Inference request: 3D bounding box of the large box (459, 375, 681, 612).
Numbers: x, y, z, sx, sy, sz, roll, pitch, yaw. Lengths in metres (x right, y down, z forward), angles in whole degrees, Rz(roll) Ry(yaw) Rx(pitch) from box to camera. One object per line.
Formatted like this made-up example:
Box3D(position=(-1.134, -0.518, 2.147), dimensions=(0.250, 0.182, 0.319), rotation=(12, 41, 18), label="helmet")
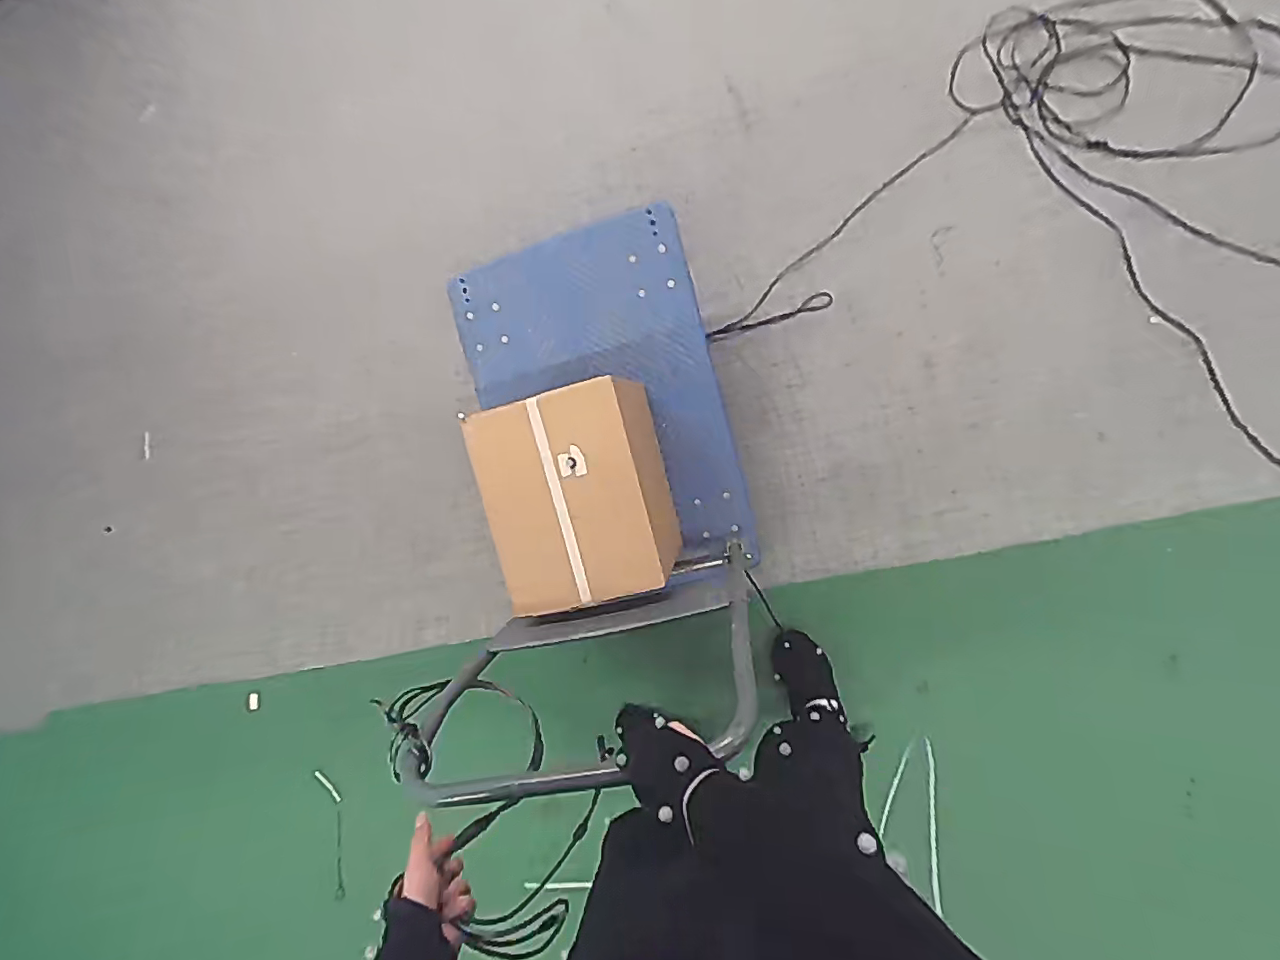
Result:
Box3D(position=(-0.124, 0.019, 1.163), dimensions=(0.320, 0.320, 0.408), rotation=(-14, 94, 12), label="large box")
